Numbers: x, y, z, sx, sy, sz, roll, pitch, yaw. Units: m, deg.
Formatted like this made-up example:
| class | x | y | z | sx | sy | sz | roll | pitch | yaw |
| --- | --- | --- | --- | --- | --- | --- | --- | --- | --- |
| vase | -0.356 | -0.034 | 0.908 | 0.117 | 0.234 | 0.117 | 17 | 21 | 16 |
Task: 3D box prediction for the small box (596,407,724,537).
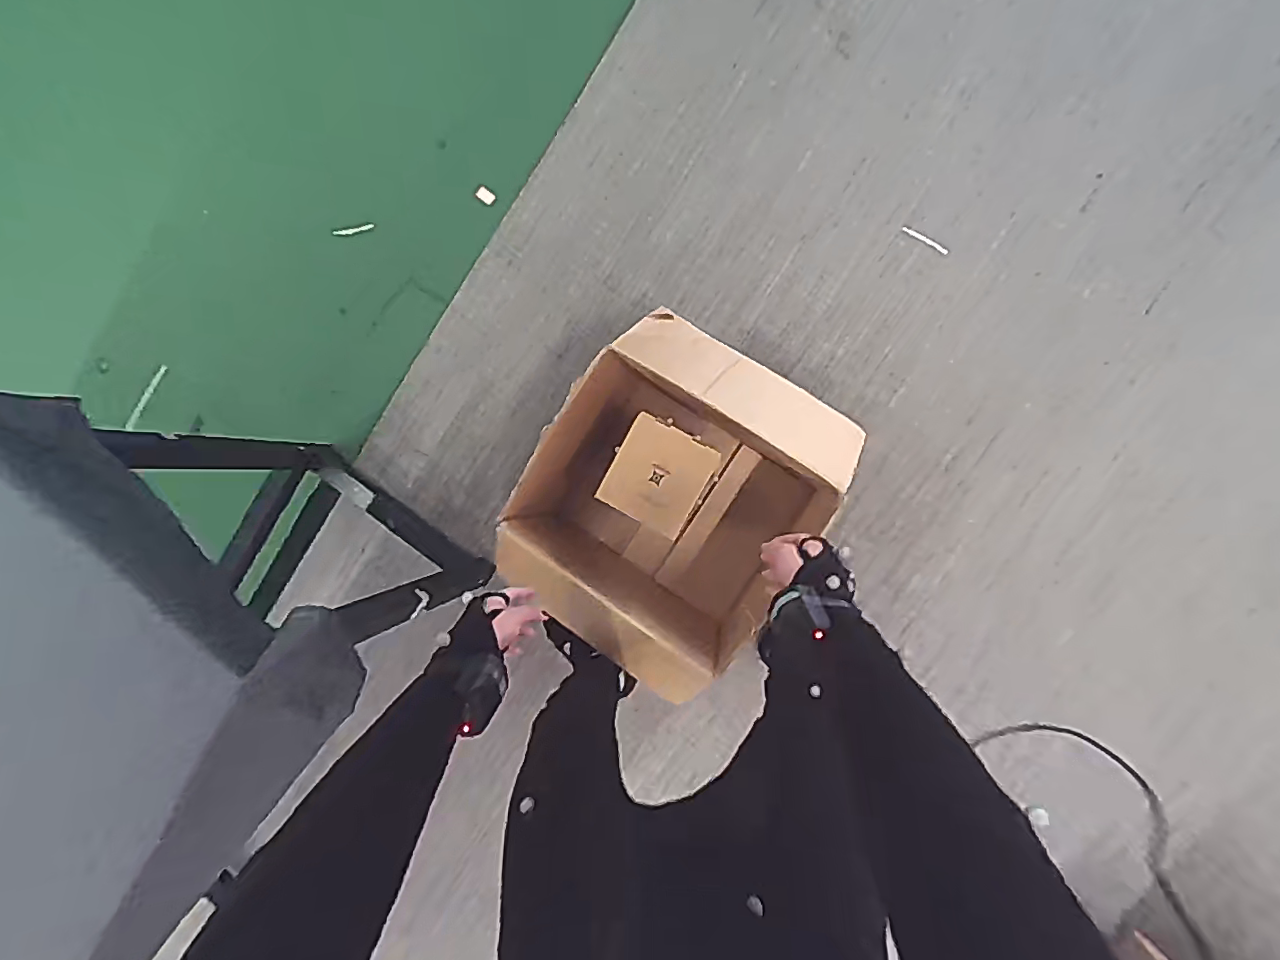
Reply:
| class | x | y | z | sx | sy | sz | roll | pitch | yaw |
| --- | --- | --- | --- | --- | --- | --- | --- | --- | --- |
| small box | 0.041 | -0.018 | 1.013 | 0.168 | 0.176 | 0.179 | 30 | 96 | 5 |
